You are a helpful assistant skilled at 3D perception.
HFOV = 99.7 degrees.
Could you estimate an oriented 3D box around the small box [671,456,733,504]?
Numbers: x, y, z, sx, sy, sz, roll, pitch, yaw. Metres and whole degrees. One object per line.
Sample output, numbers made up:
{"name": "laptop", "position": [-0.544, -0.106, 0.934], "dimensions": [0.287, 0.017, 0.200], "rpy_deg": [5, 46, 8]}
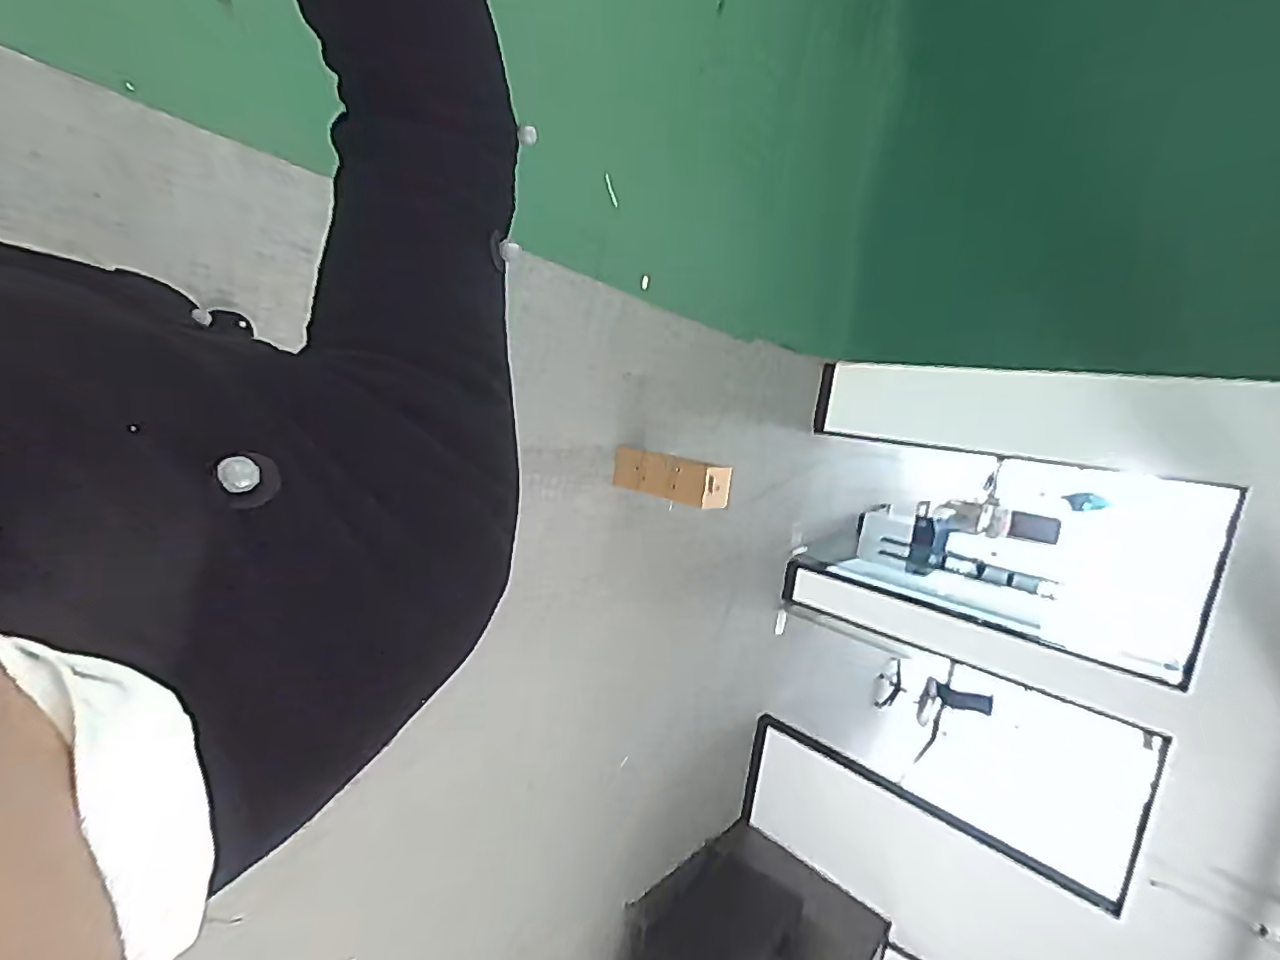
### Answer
{"name": "small box", "position": [0.242, -0.001, 2.149], "dimensions": [0.179, 0.176, 0.168], "rpy_deg": [-2, 102, -48]}

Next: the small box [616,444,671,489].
{"name": "small box", "position": [0.011, -0.061, 2.374], "dimensions": [0.168, 0.176, 0.179], "rpy_deg": [0, 101, -48]}
